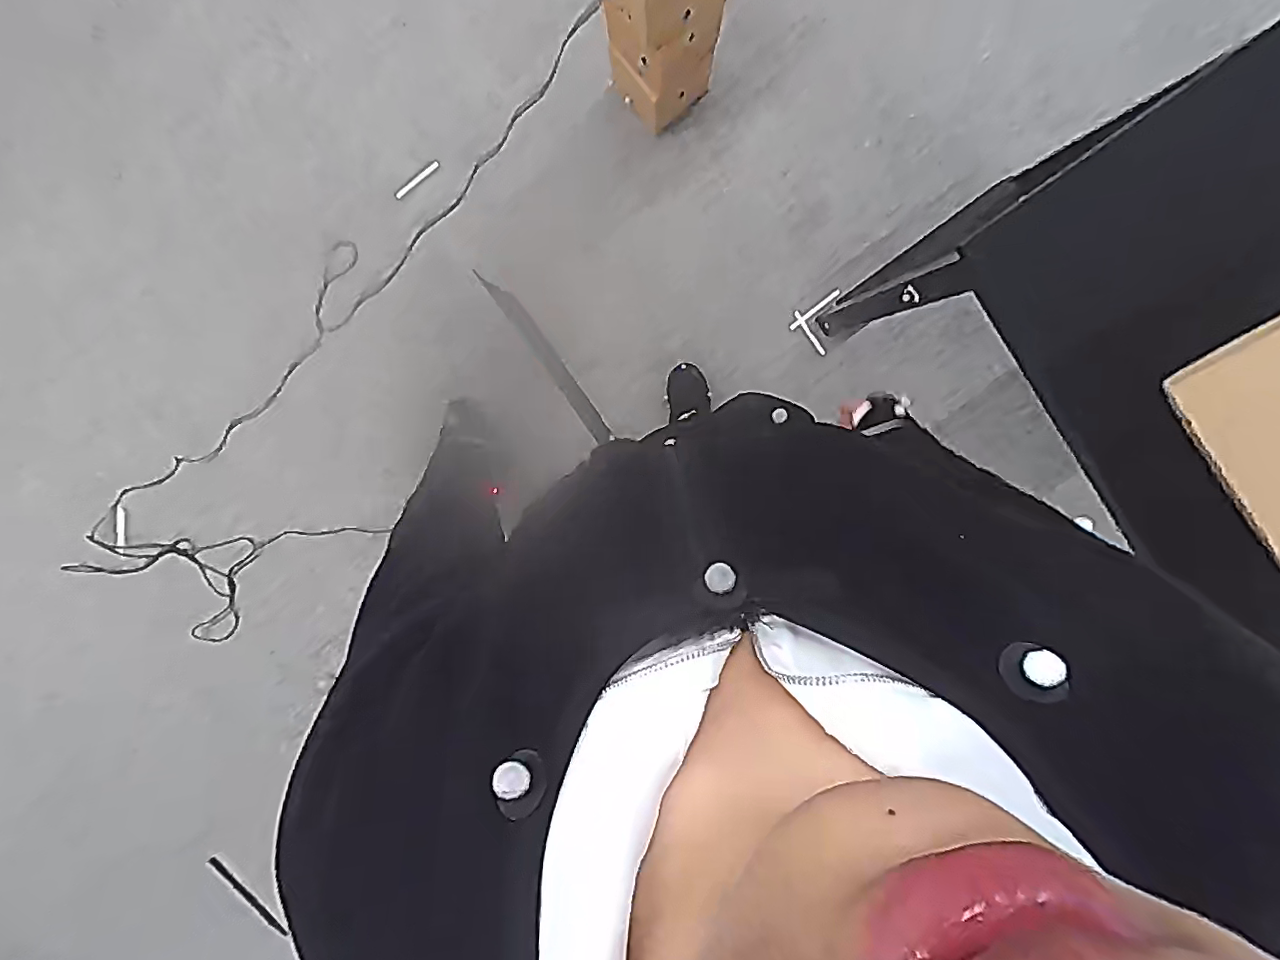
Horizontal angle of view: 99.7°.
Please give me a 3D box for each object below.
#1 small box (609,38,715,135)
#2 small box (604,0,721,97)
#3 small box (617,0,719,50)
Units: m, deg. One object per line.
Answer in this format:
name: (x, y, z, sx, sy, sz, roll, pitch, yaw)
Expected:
small box: (0.048, -0.955, 1.250, 0.179, 0.176, 0.168, -39, 96, 8)
small box: (0.048, -0.933, 1.089, 0.179, 0.176, 0.168, -43, 97, 6)
small box: (0.045, -0.904, 0.928, 0.179, 0.176, 0.168, -29, 98, 5)
